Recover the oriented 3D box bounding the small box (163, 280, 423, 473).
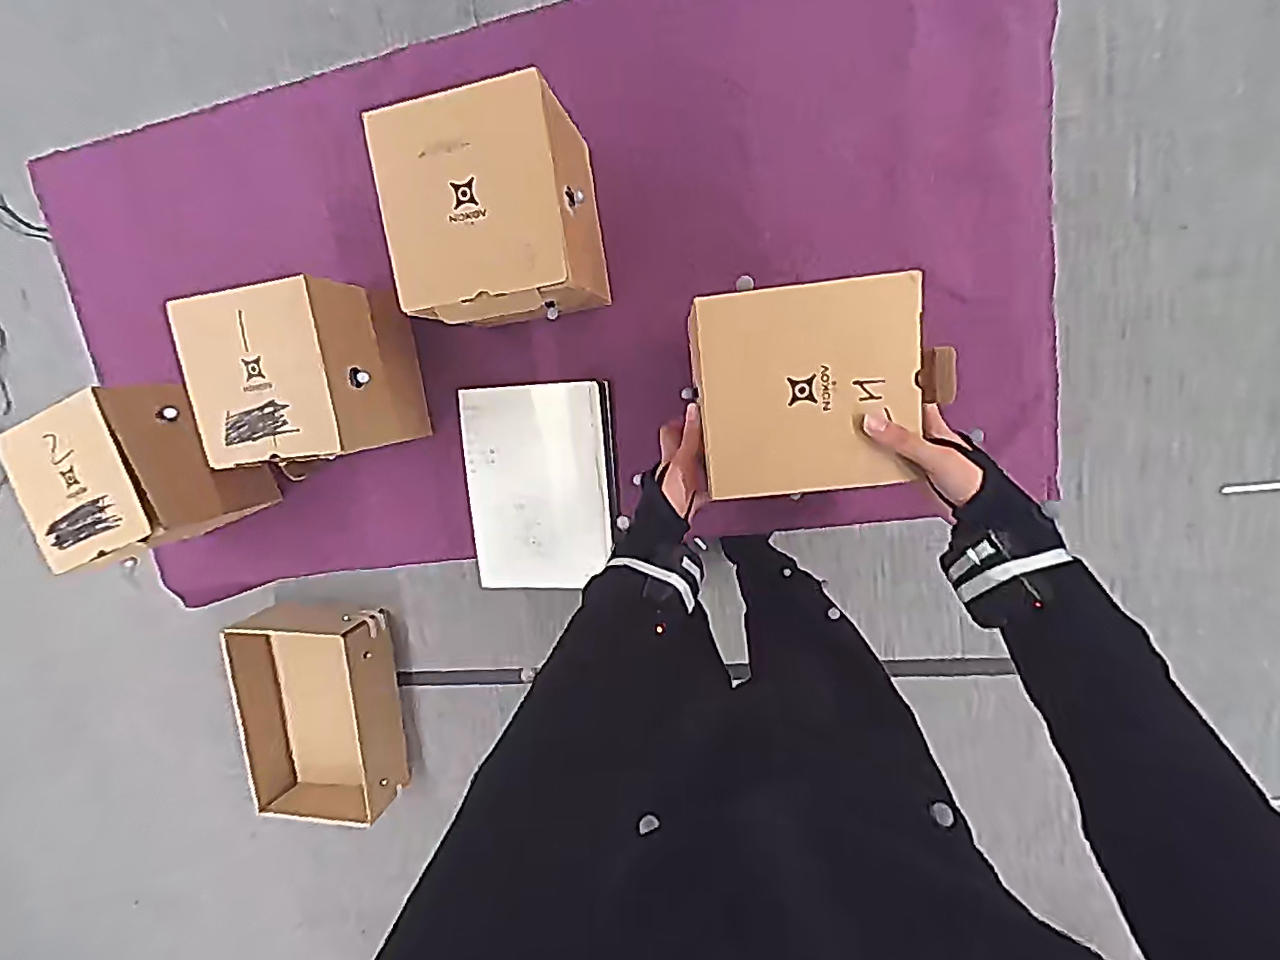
[{"bbox_3d":[-0.373,-0.114,0.617,0.168,0.176,0.179,-6,99,11],"label":"small box"}]

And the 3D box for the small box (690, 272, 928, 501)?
[{"bbox_3d":[0.138,-0.082,0.499,0.179,0.176,0.168,-6,100,4],"label":"small box"}]

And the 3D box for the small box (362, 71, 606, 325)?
[{"bbox_3d":[-0.139,-0.258,0.548,0.168,0.176,0.179,-6,100,11],"label":"small box"}]
